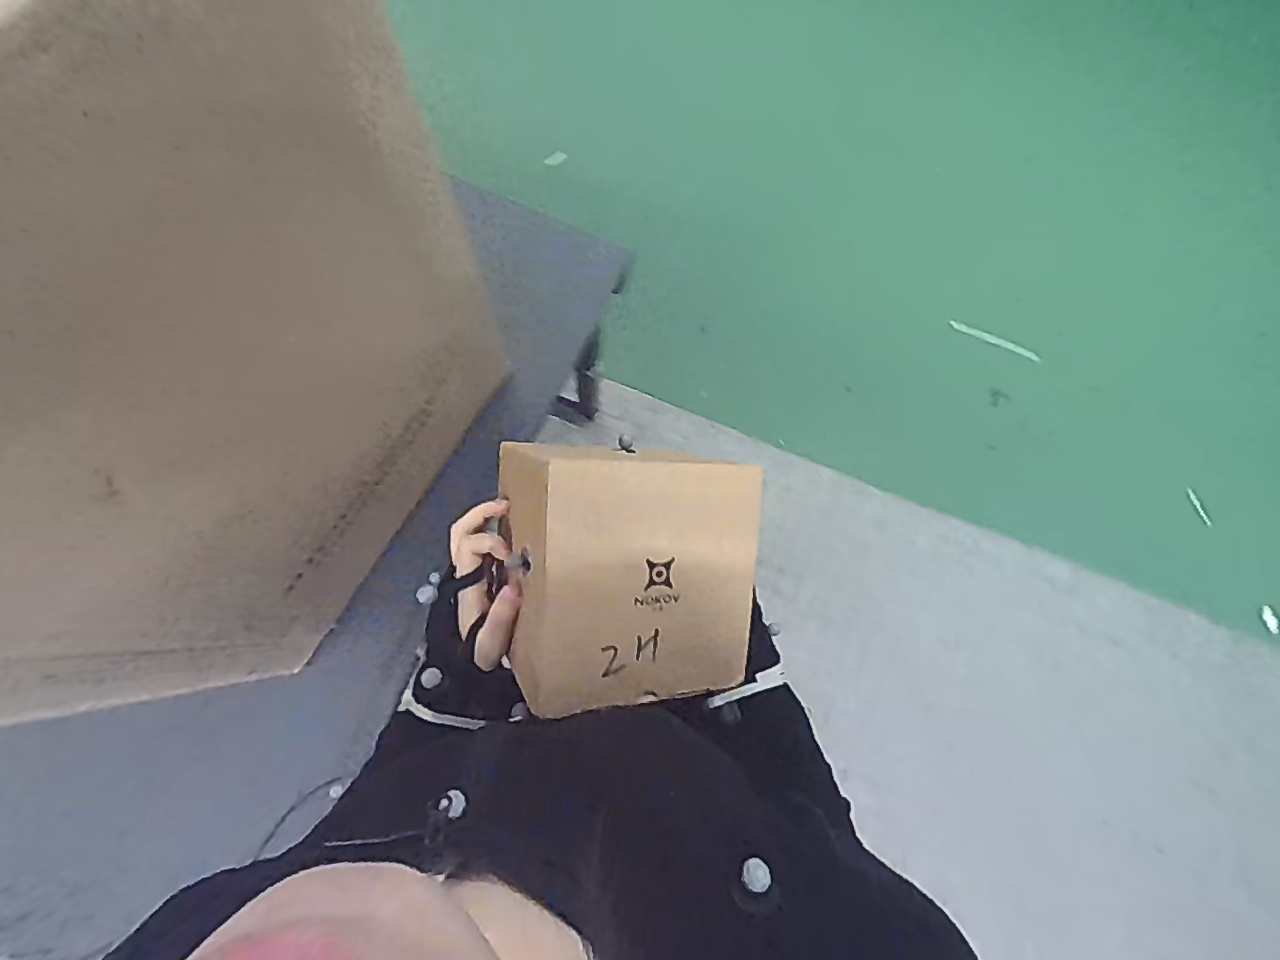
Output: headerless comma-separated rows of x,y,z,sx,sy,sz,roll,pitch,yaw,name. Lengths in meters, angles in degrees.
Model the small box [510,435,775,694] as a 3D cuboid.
-0.010,0.055,0.462,0.168,0.176,0.179,4,95,-25,small box
